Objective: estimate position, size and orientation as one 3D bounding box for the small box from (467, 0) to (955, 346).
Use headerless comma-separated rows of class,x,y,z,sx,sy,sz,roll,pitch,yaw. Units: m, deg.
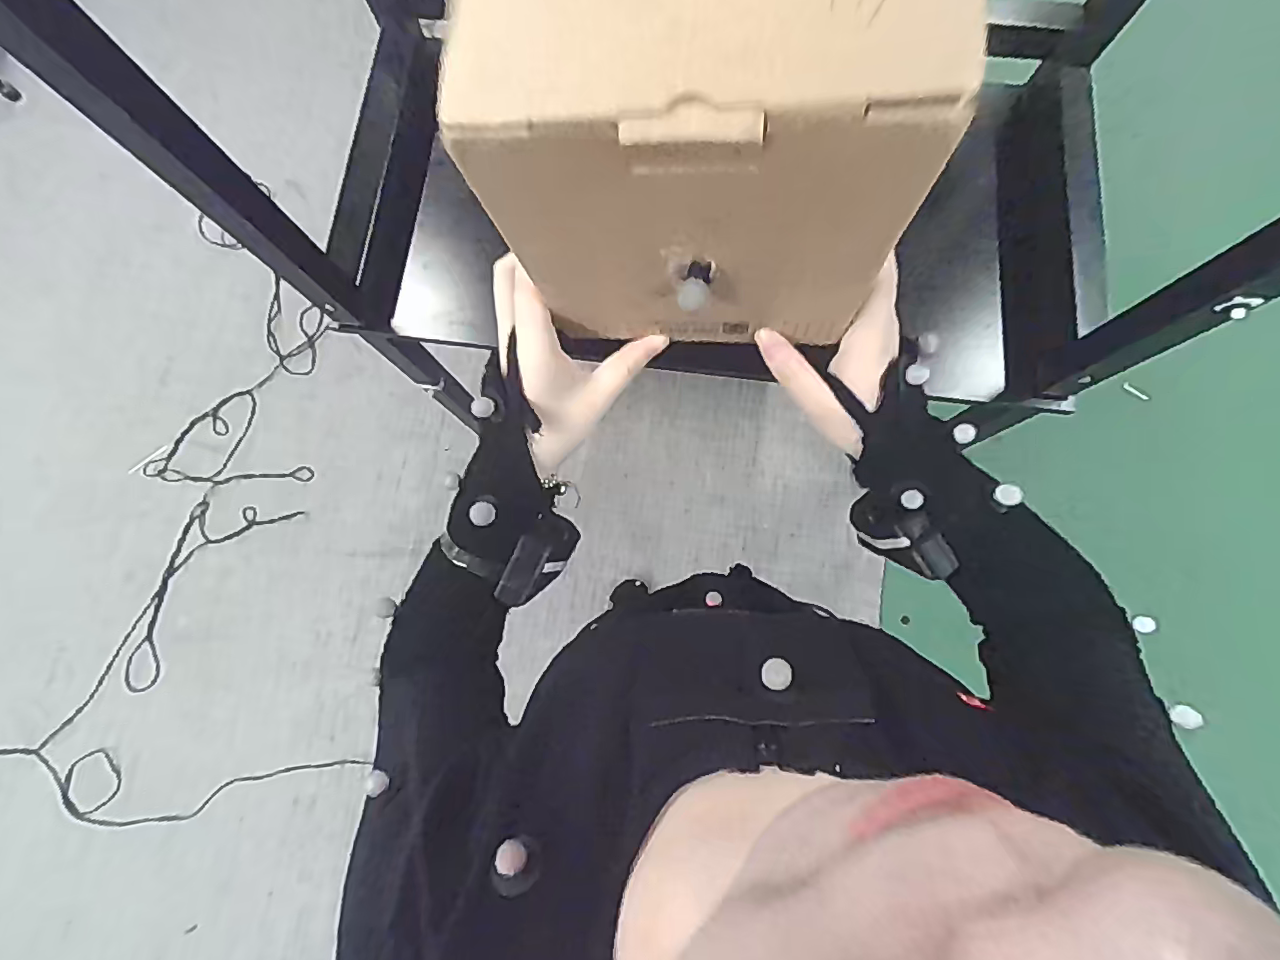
small box,0.035,-0.178,0.269,0.168,0.176,0.179,3,82,7
